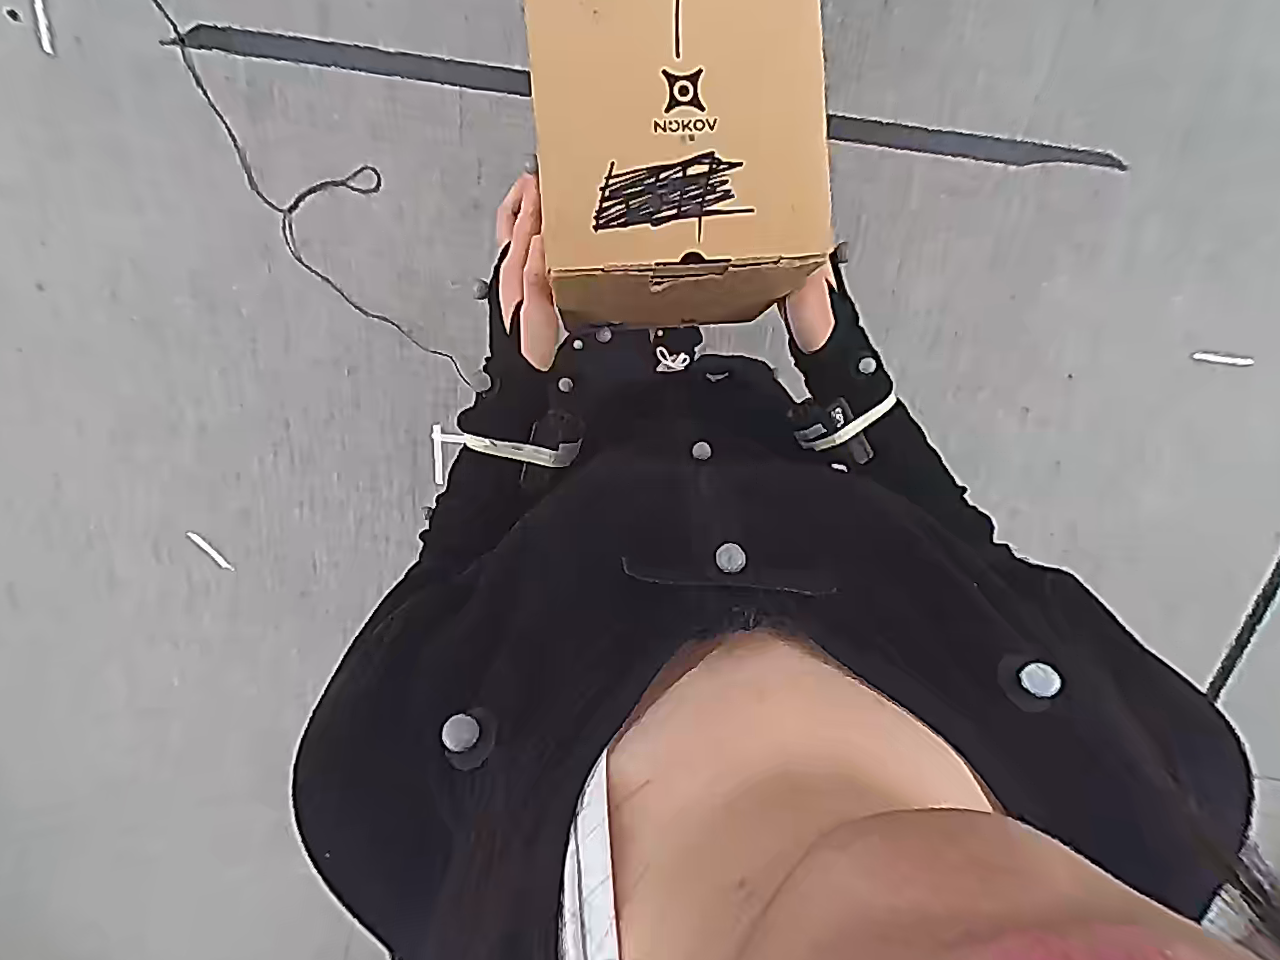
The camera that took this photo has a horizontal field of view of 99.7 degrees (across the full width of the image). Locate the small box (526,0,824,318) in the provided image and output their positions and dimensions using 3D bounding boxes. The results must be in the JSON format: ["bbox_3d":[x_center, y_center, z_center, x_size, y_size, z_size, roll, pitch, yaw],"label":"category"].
[{"bbox_3d":[0.017,-0.218,0.383,0.168,0.176,0.179,-4,94,-4],"label":"small box"}]

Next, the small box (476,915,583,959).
[{"bbox_3d":[-0.200,0.874,0.903,0.179,0.176,0.168,10,107,-2],"label":"small box"}]

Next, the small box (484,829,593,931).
[{"bbox_3d":[-0.197,0.822,1.056,0.179,0.176,0.168,10,108,-2],"label":"small box"}]
